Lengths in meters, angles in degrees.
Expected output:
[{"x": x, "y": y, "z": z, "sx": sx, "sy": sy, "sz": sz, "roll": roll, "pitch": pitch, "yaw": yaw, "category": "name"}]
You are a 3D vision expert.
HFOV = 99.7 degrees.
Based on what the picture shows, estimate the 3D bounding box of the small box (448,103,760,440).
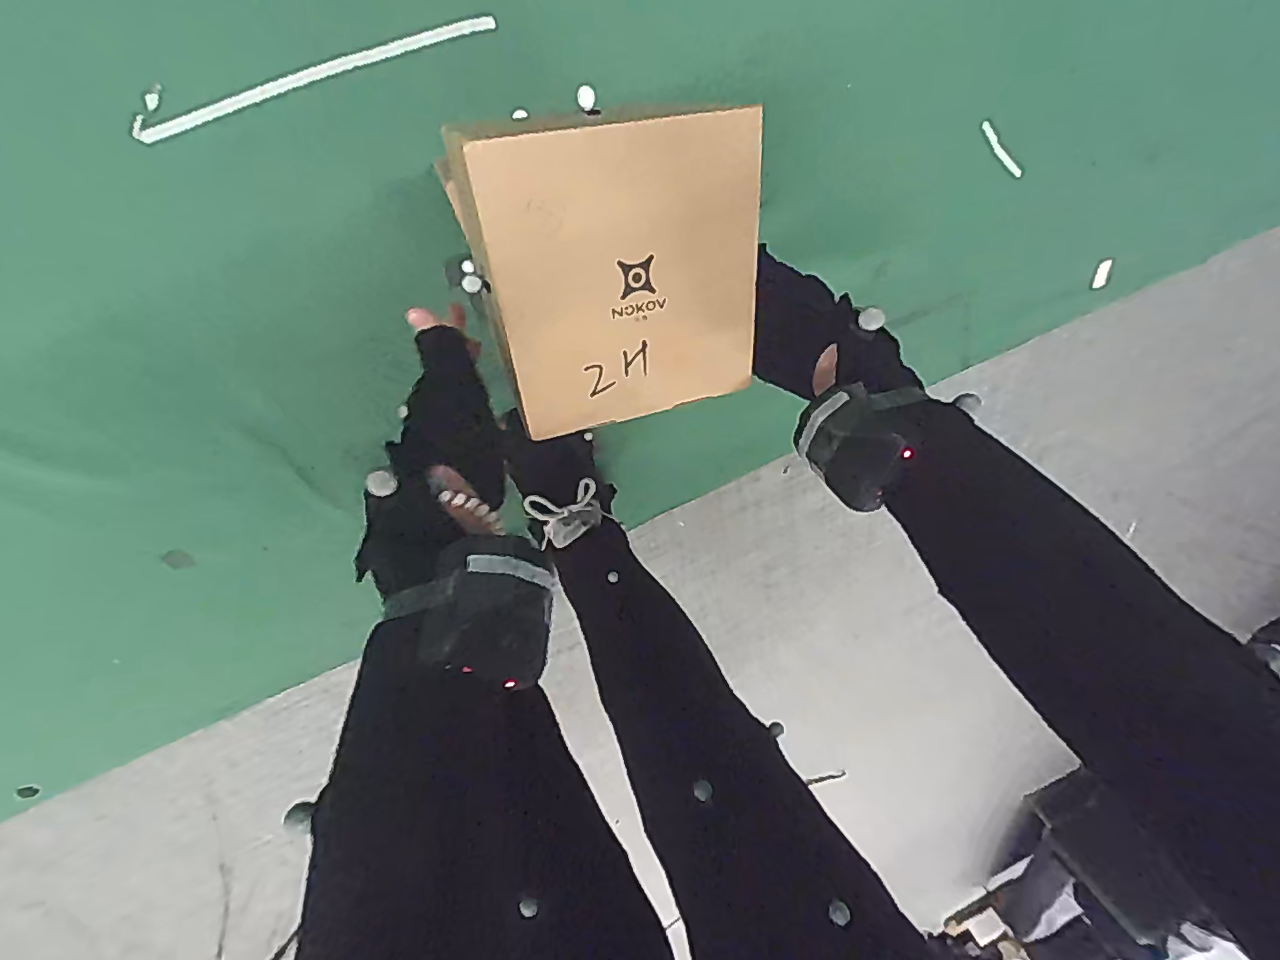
[{"x": -0.031, "y": -0.159, "z": 0.390, "sx": 0.168, "sy": 0.176, "sz": 0.179, "roll": -16, "pitch": 129, "yaw": -13, "category": "small box"}]
